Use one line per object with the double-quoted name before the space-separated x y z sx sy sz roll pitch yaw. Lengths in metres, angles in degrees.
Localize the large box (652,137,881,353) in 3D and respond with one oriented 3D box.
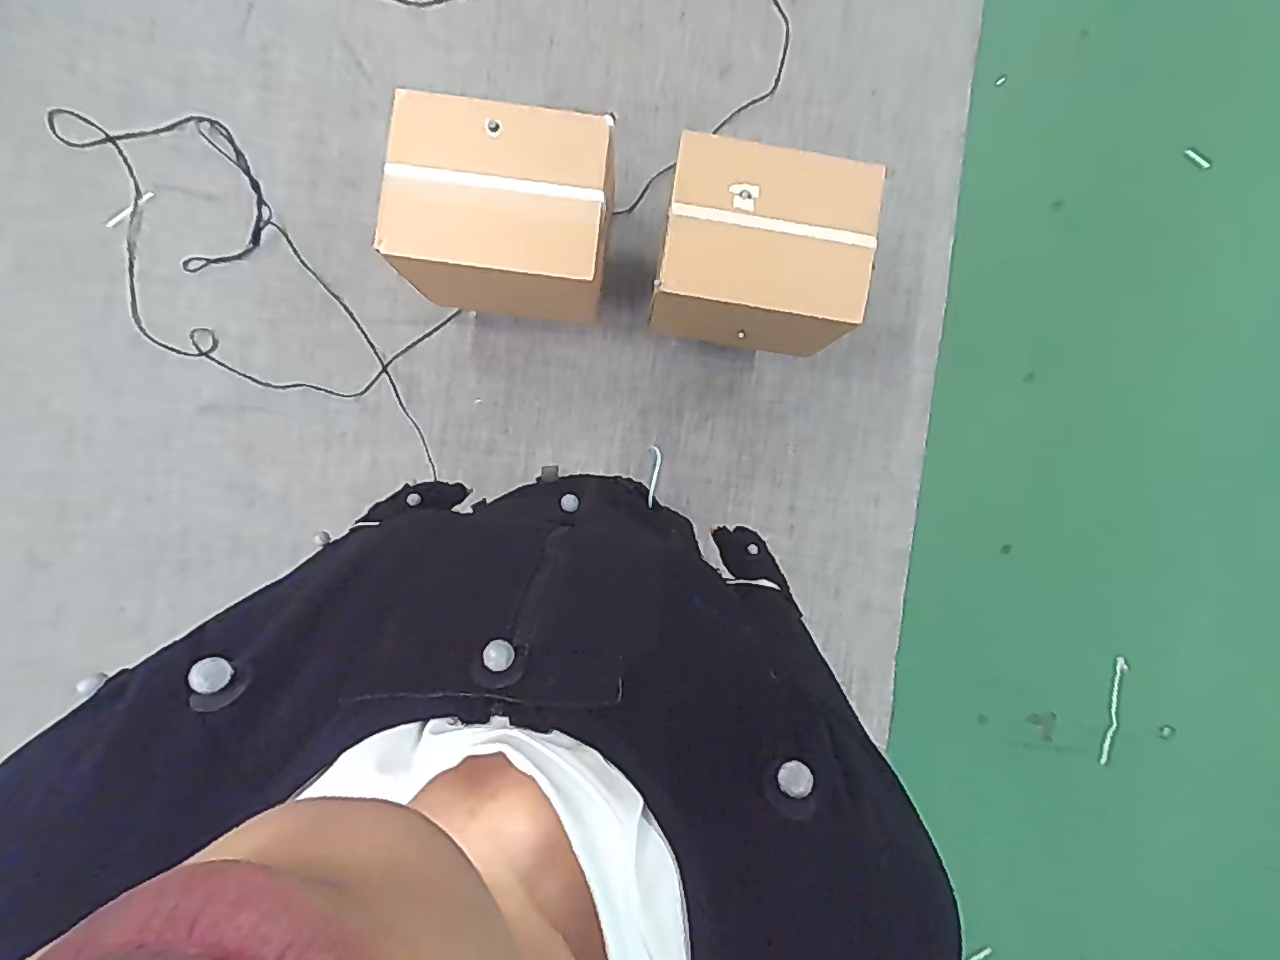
"large box" 0.253 -0.488 1.200 0.408 0.320 0.320 9 90 -2
